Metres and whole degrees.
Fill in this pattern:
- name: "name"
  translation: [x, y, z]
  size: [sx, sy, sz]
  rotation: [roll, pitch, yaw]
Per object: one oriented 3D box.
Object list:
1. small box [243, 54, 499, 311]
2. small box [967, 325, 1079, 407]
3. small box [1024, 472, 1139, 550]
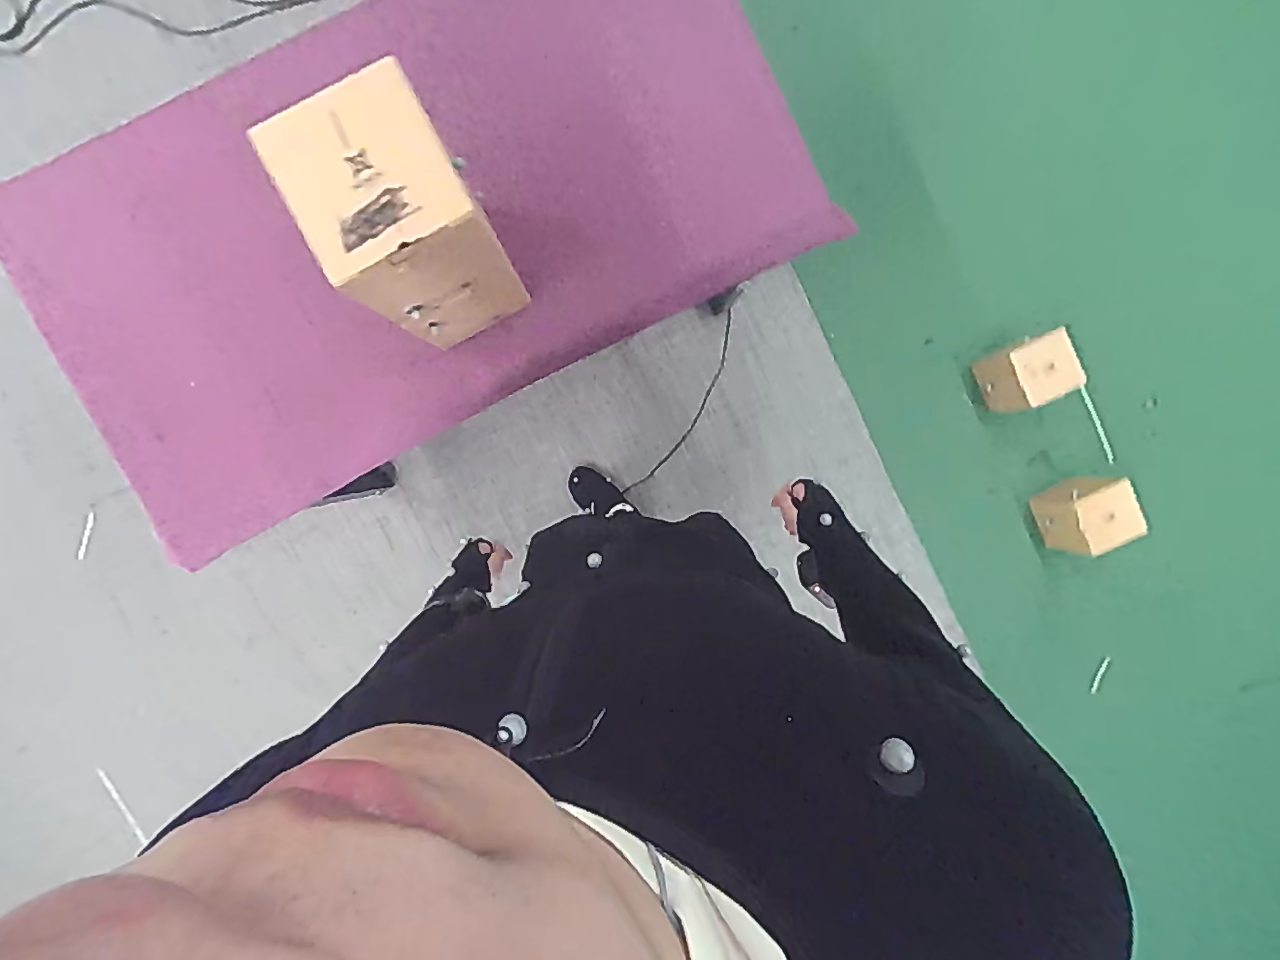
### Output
- name: "small box"
  translation: [-0.284, -0.313, 0.618]
  size: [0.168, 0.176, 0.179]
  rotation: [-28, 93, 0]
- name: "small box"
  translation: [1.102, -0.325, 1.568]
  size: [0.179, 0.176, 0.168]
  rotation: [-26, 94, -1]
- name: "small box"
  translation: [1.302, 0.084, 1.604]
  size: [0.179, 0.176, 0.168]
  rotation: [-25, 95, 0]
